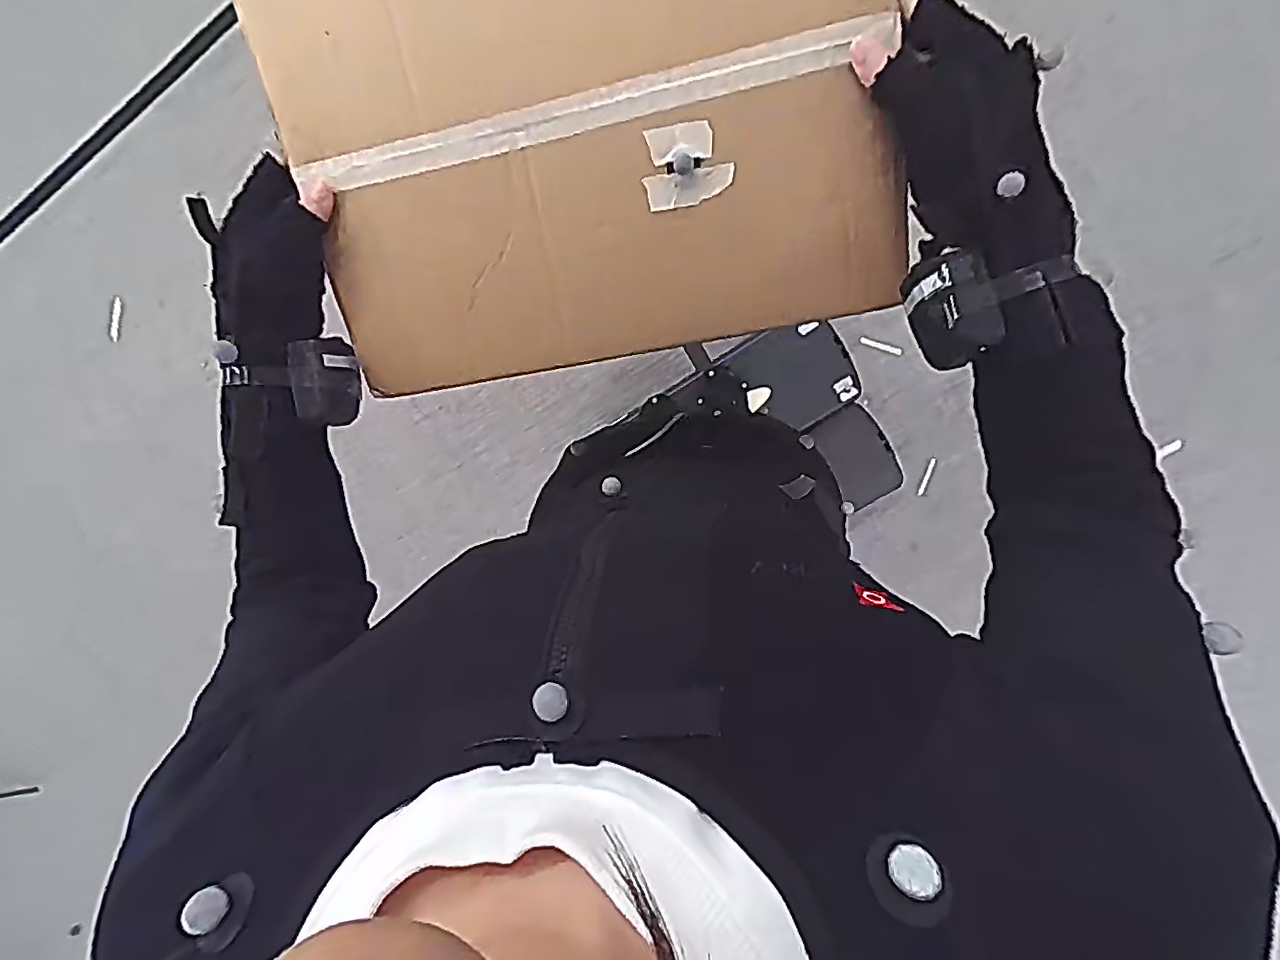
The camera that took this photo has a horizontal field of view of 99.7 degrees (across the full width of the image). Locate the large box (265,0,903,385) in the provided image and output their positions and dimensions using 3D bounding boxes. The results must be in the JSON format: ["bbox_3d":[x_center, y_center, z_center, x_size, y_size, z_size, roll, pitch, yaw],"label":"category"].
[{"bbox_3d":[-0.024,-0.296,0.504,0.408,0.320,0.320,-8,109,8],"label":"large box"}]

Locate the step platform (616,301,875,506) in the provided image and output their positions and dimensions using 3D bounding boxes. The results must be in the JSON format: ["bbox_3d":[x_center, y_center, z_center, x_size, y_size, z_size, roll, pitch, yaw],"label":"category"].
[{"bbox_3d":[0.272,-0.211,1.480,0.684,0.204,0.286,-32,95,9],"label":"step platform"}]
